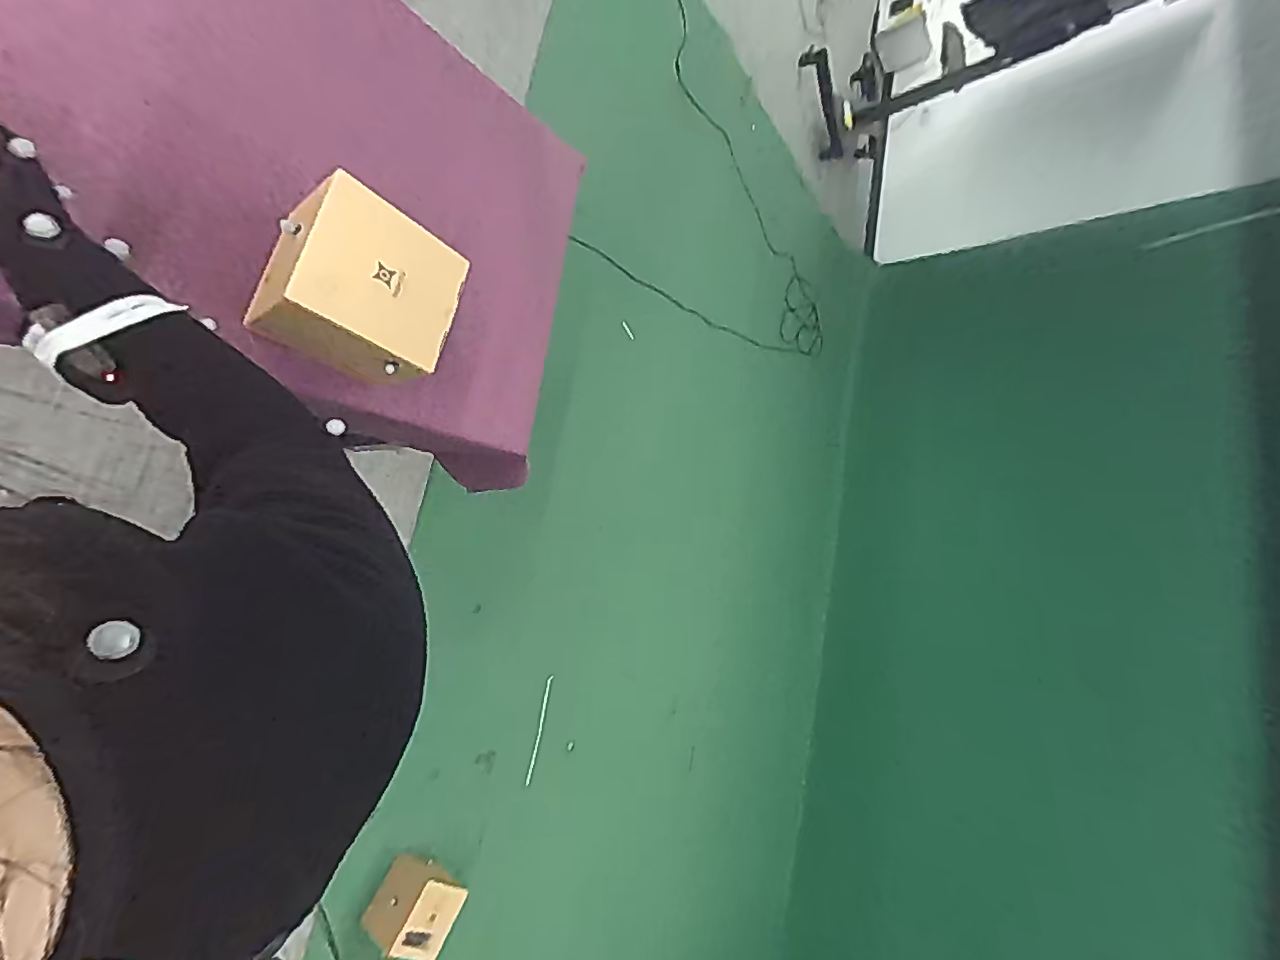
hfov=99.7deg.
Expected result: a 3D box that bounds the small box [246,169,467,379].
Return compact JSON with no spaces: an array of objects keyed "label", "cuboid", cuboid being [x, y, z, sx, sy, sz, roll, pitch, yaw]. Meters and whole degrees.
[{"label":"small box","cuboid":[-0.358,-0.240,0.685,0.179,0.176,0.168,27,71,-47]}]
